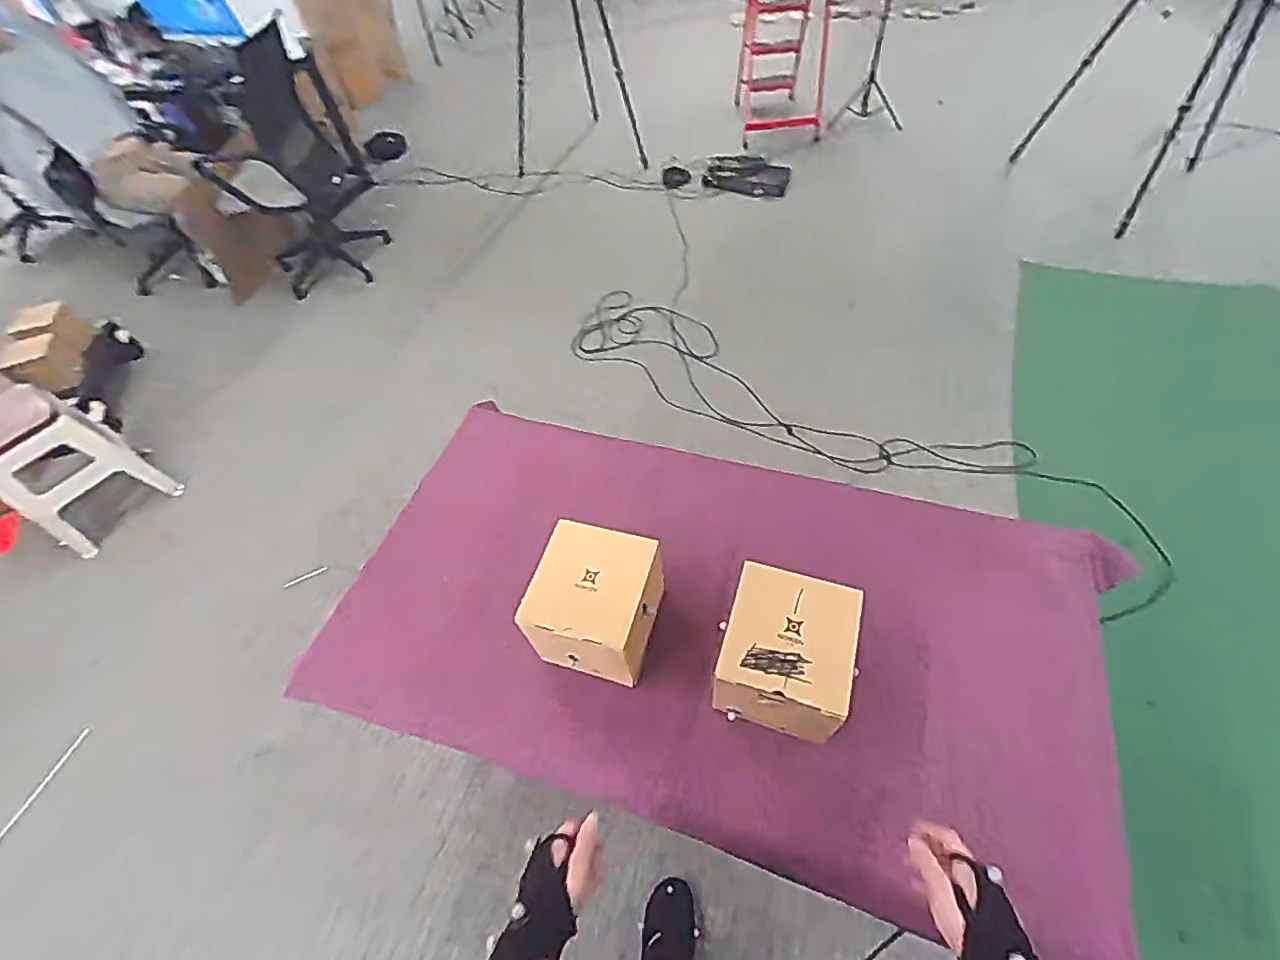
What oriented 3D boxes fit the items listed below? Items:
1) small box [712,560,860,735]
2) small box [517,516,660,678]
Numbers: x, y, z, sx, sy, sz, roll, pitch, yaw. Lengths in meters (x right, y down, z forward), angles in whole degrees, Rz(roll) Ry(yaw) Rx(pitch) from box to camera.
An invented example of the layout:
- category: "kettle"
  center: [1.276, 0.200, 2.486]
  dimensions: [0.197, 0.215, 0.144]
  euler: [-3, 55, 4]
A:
- category: "small box"
  center: [0.206, 0.246, 0.780]
  dimensions: [0.168, 0.176, 0.179]
  euler: [13, 58, 15]
- category: "small box"
  center: [-0.068, 0.187, 0.853]
  dimensions: [0.168, 0.176, 0.179]
  euler: [12, 57, 14]
